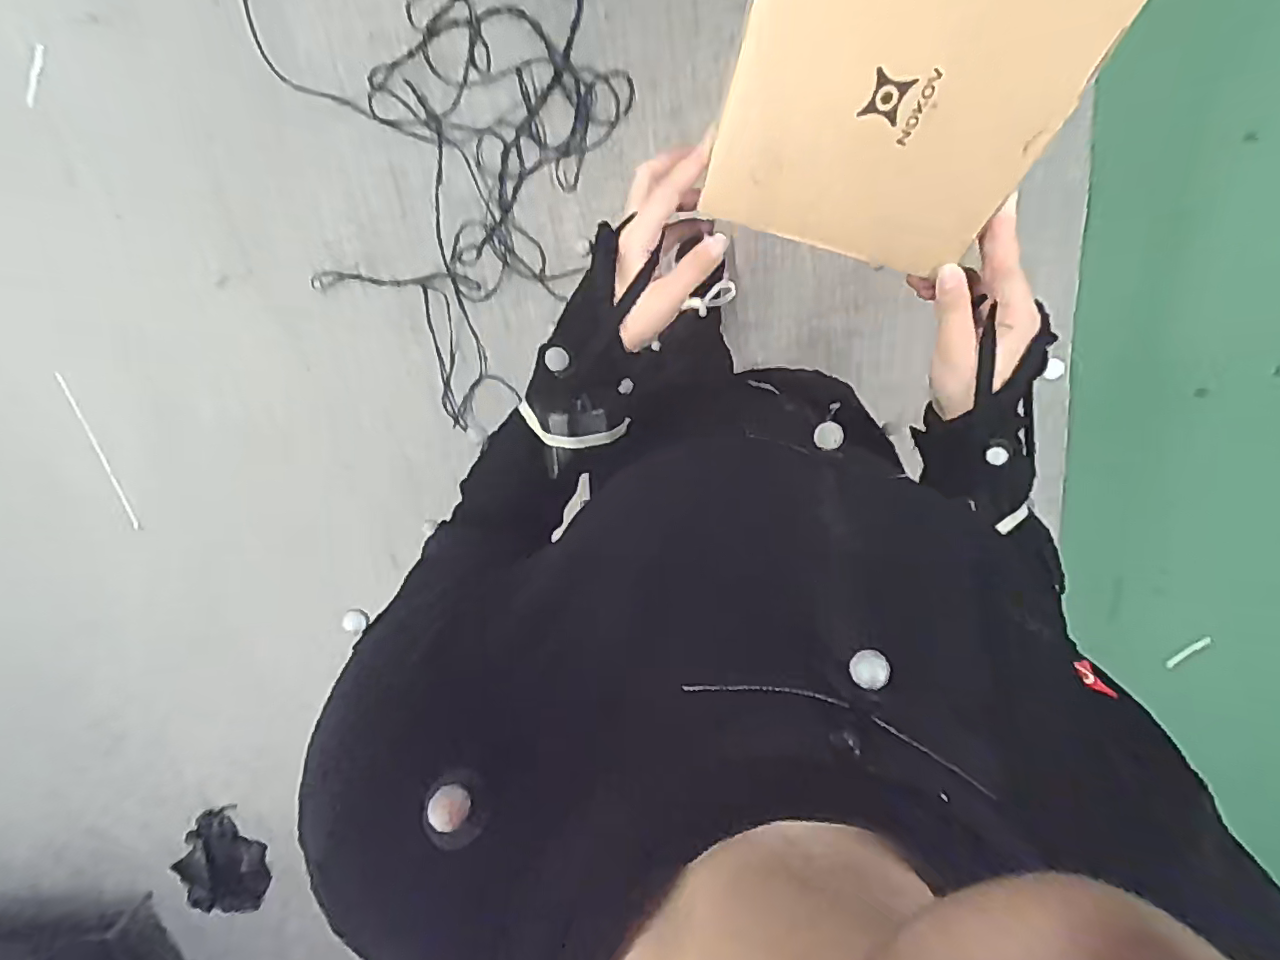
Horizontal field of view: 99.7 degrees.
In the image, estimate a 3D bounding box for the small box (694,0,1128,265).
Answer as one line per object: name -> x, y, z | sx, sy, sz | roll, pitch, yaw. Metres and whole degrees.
small box -> 0.145, -0.269, 0.338 | 0.179, 0.176, 0.168 | 14, 138, -3
